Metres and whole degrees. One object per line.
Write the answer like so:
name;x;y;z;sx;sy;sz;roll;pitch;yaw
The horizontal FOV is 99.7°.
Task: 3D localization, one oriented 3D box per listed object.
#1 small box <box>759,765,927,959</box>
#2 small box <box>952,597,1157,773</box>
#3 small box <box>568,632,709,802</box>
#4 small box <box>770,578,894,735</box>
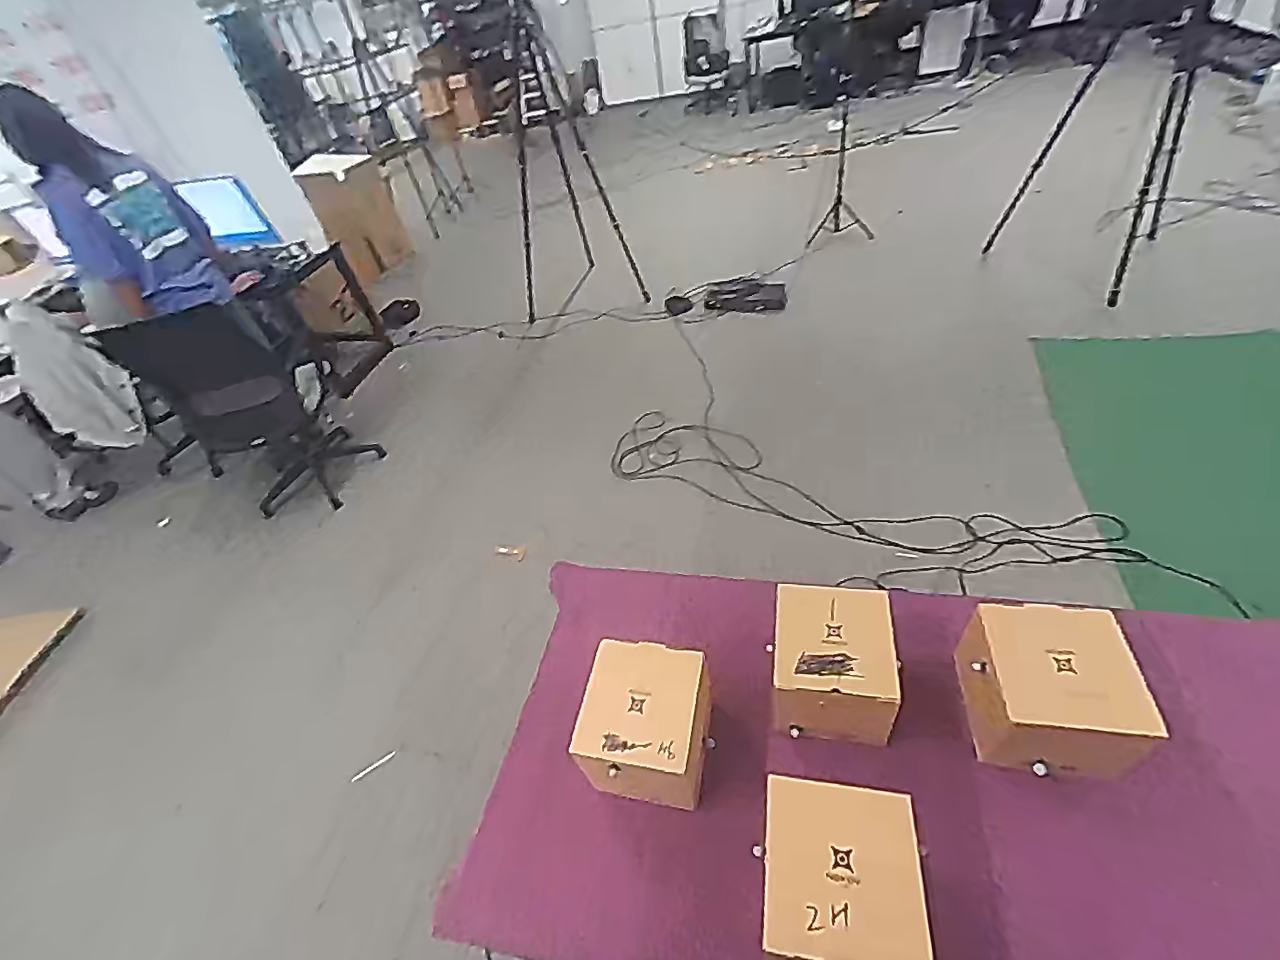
small box;0.234;0.481;0.660;0.168;0.176;0.179;1;45;15
small box;0.568;0.291;0.776;0.168;0.176;0.179;0;47;15
small box;0.010;0.362;0.833;0.168;0.176;0.179;2;46;17
small box;0.294;0.279;0.852;0.168;0.176;0.179;2;46;15
